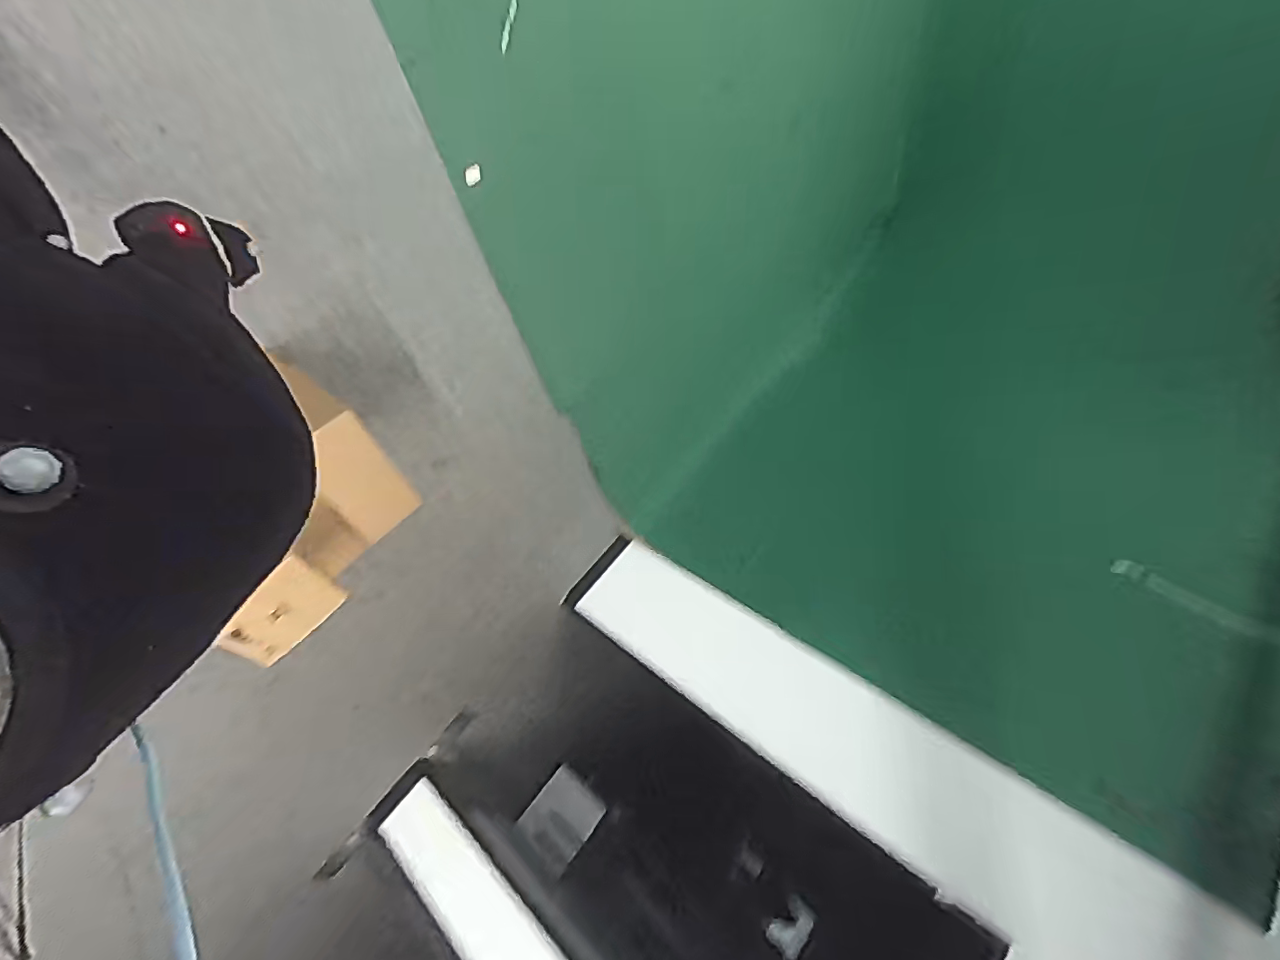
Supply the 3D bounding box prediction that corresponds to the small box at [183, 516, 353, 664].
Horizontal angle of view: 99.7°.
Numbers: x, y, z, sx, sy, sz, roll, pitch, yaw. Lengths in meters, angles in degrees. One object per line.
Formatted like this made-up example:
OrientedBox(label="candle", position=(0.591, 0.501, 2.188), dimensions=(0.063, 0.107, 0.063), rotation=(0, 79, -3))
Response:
OrientedBox(label="small box", position=(-0.688, 0.197, 1.003), dimensions=(0.179, 0.176, 0.168), rotation=(-46, 144, -23))
